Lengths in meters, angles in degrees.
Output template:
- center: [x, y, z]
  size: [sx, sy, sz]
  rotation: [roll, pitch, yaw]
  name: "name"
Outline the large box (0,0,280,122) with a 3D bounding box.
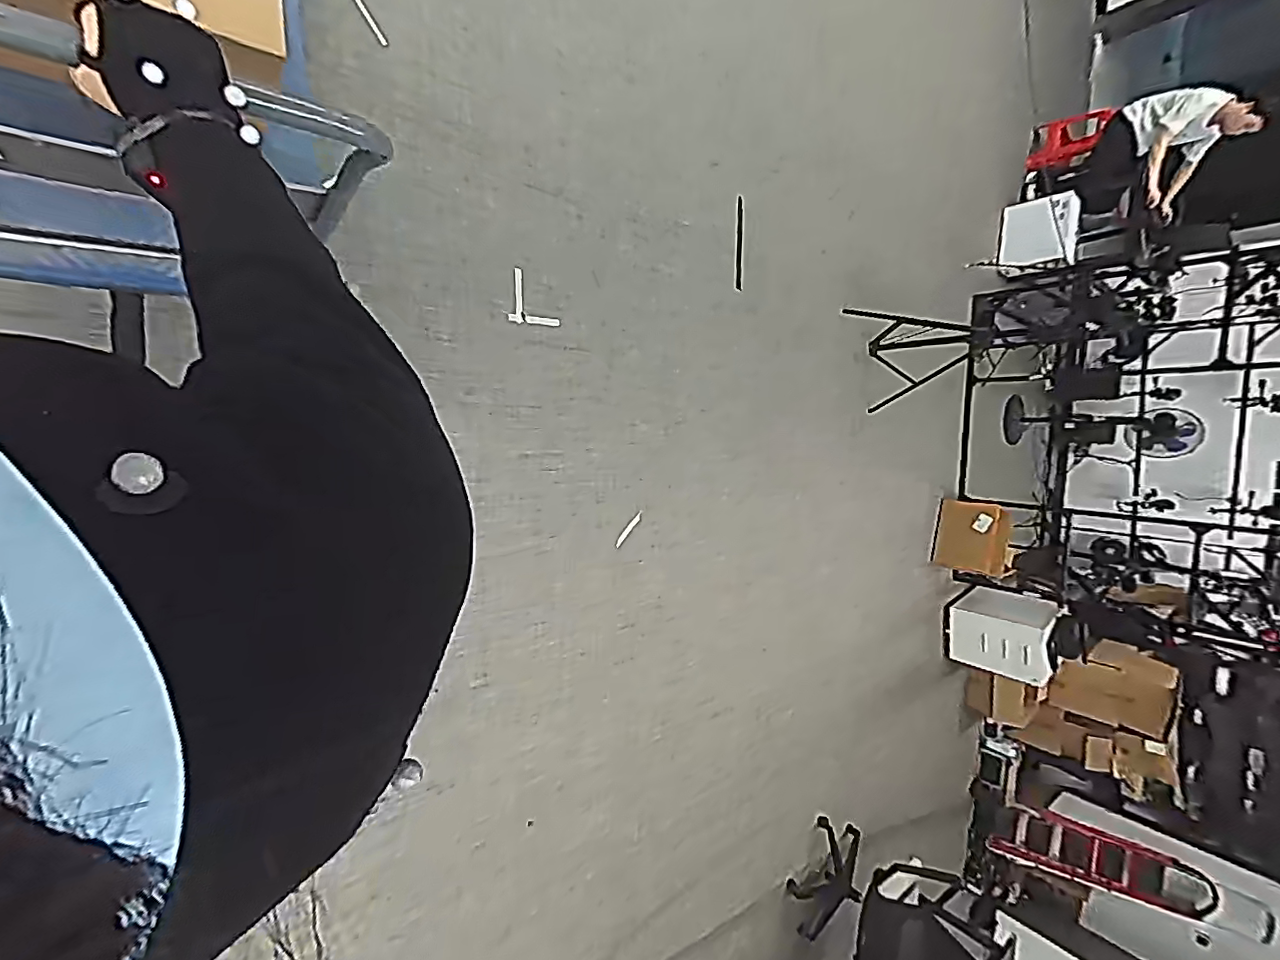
- center: [-0.807, -0.816, 0.811]
  size: [0.408, 0.320, 0.320]
  rotation: [-6, 98, -38]
  name: "large box"
